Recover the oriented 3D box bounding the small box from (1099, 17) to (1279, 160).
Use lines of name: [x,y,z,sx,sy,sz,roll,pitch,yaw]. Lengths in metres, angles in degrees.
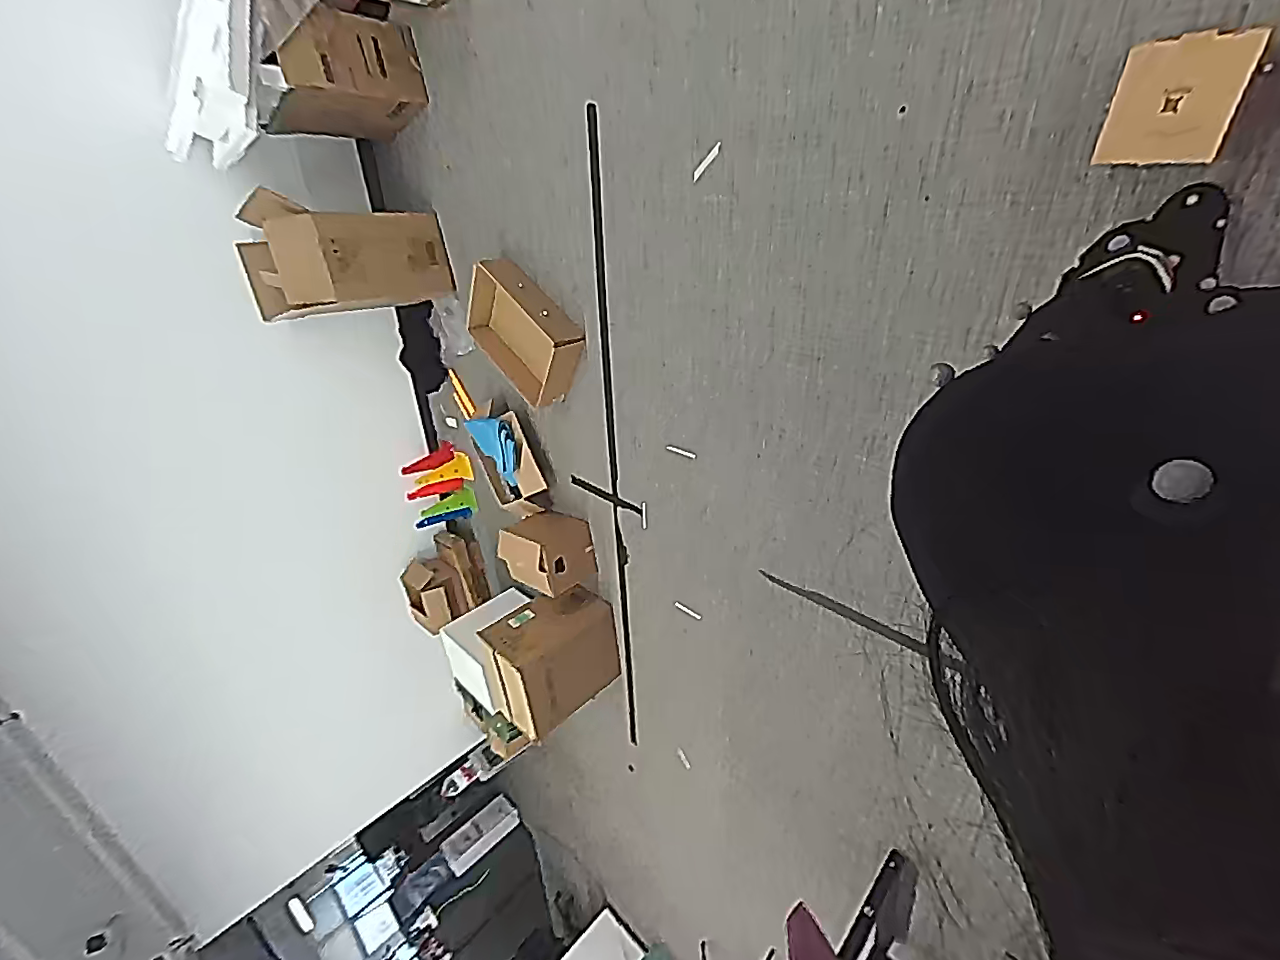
small box: [0.927,-0.647,0.916,0.168,0.176,0.179,27,130,39]
